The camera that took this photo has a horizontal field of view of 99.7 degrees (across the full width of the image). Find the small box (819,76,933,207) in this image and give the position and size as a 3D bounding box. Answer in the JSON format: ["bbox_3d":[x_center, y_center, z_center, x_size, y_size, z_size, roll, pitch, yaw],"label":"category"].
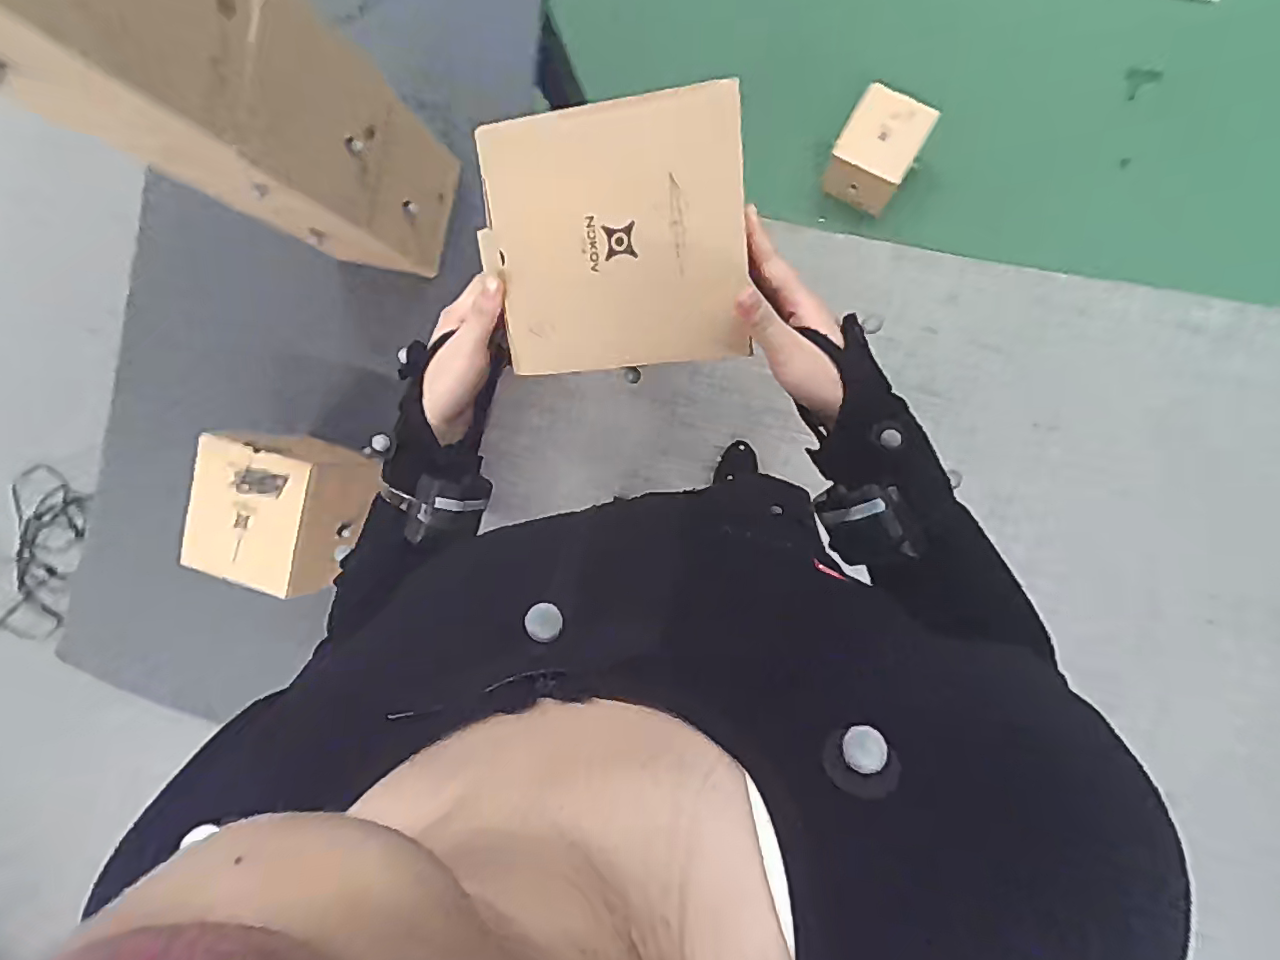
[{"bbox_3d":[0.543,-0.783,1.274,0.168,0.176,0.179,30,97,5],"label":"small box"}]

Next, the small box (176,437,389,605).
[{"bbox_3d":[-0.477,0.045,0.745,0.168,0.176,0.179,15,96,9],"label":"small box"}]

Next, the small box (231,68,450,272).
[{"bbox_3d":[-0.375,-0.387,0.704,0.179,0.176,0.168,14,95,9],"label":"small box"}]
